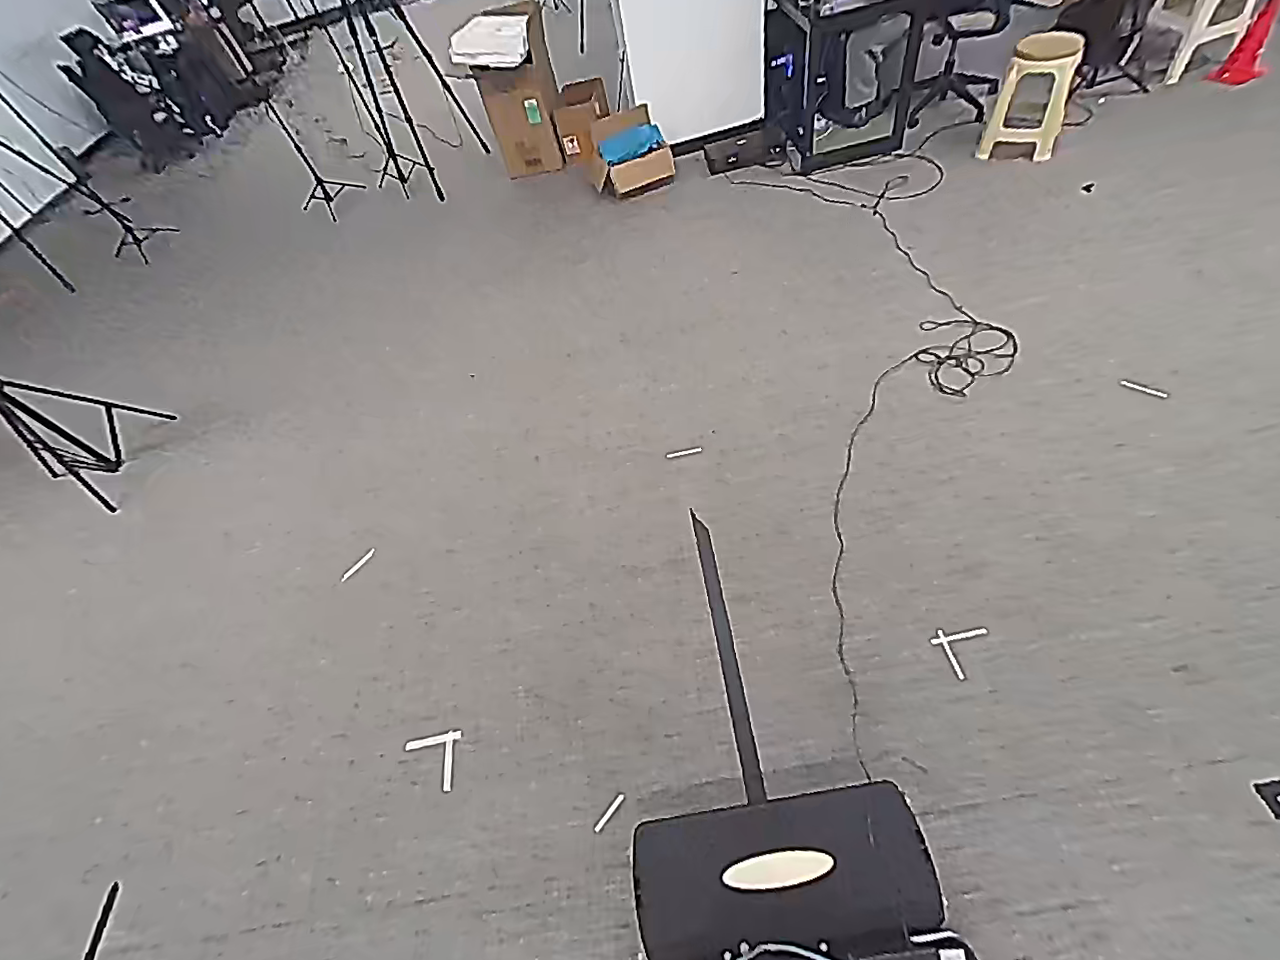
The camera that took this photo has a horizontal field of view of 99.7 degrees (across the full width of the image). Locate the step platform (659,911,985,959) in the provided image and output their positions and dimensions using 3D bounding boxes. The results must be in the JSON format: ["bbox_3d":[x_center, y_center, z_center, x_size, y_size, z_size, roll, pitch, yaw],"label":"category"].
[{"bbox_3d":[0.356,1.074,1.056,0.684,0.204,0.286,-14,51,4],"label":"step platform"}]
